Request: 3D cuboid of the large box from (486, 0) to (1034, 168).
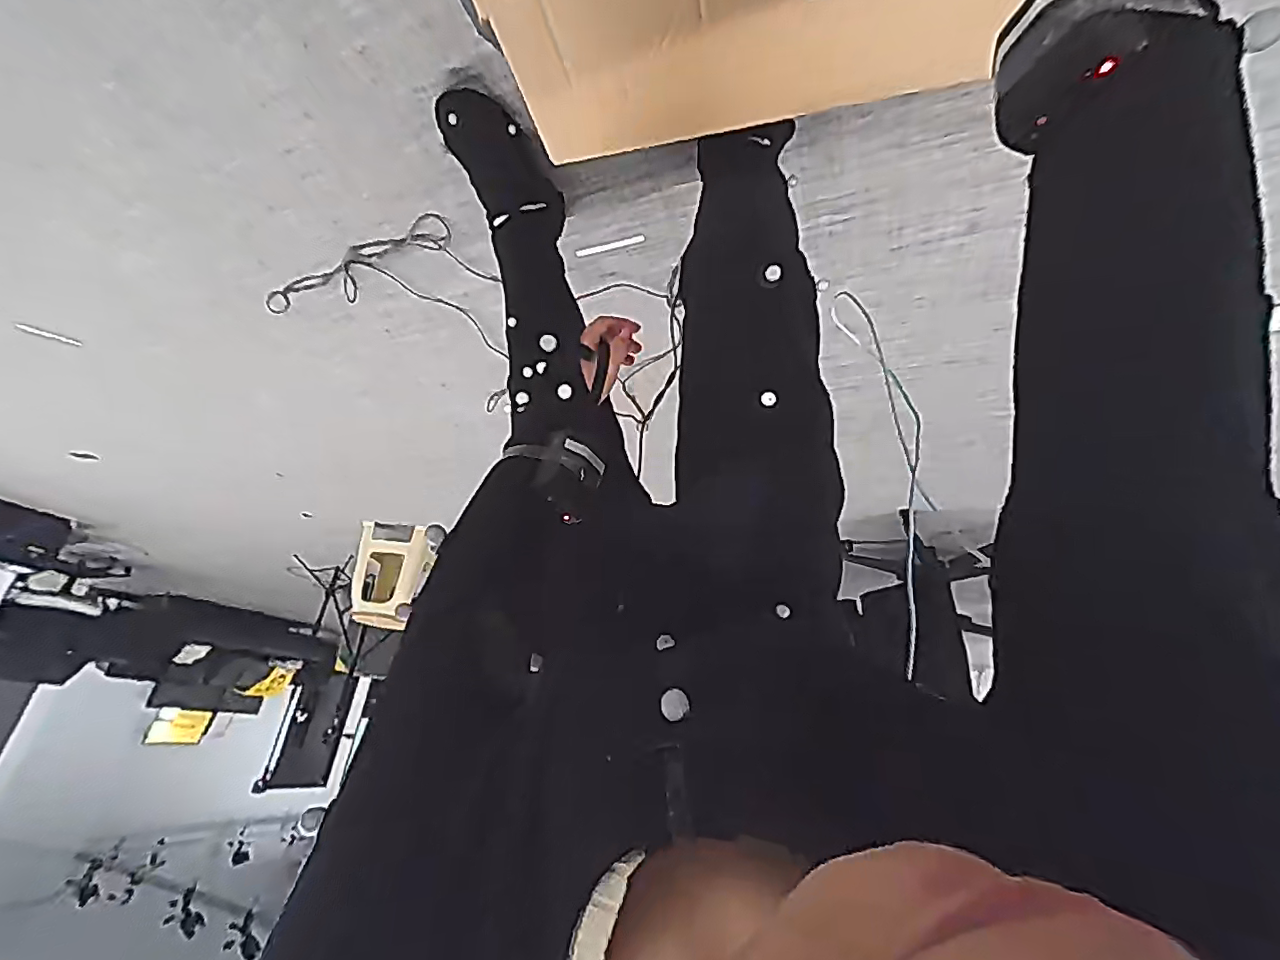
[{"bbox_3d":[0.078,-0.520,0.421,0.408,0.320,0.320,-3,153,16],"label":"large box"}]
